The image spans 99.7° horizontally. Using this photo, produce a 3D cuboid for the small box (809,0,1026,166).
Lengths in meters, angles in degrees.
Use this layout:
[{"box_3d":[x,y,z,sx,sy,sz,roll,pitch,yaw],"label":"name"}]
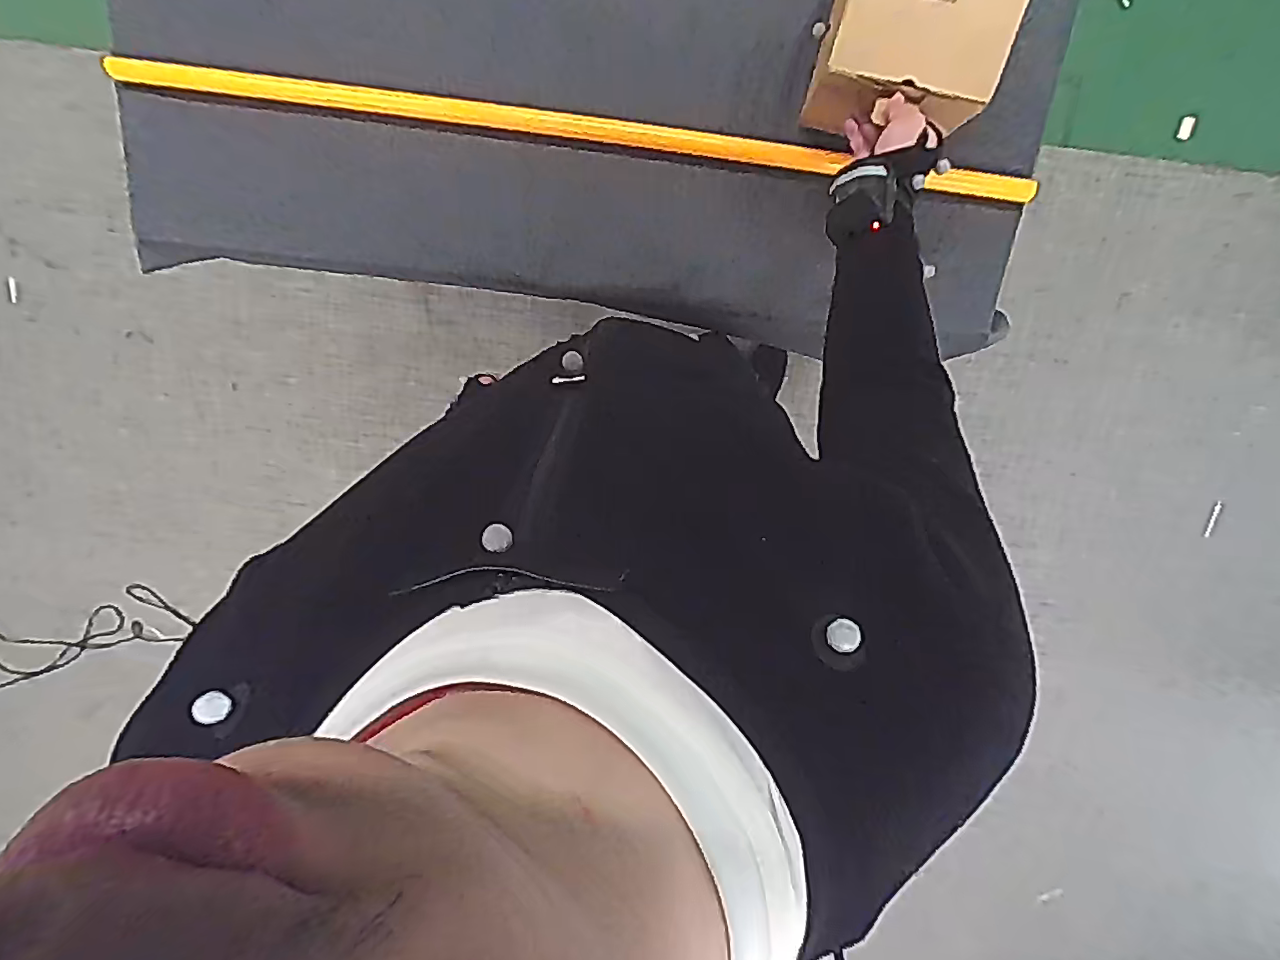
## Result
[{"box_3d":[0.300,-0.480,0.609,0.168,0.176,0.179,13,106,5],"label":"small box"}]
